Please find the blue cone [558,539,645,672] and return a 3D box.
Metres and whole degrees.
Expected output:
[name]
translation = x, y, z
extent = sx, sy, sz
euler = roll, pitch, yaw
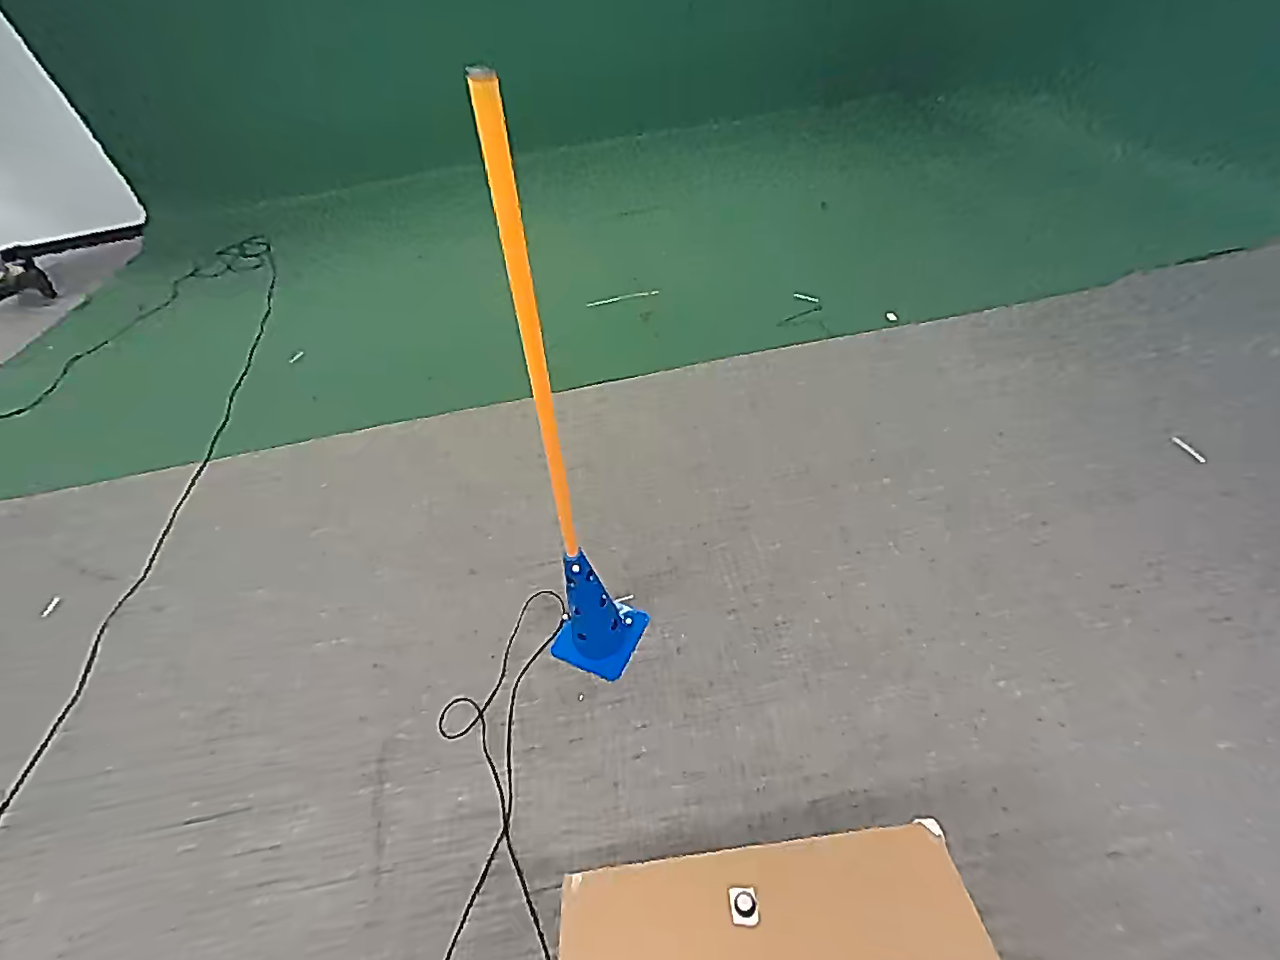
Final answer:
[blue cone]
translation = -0.115, 0.265, 1.252
extent = 0.192, 0.380, 0.193
euler = 14, 49, 20
